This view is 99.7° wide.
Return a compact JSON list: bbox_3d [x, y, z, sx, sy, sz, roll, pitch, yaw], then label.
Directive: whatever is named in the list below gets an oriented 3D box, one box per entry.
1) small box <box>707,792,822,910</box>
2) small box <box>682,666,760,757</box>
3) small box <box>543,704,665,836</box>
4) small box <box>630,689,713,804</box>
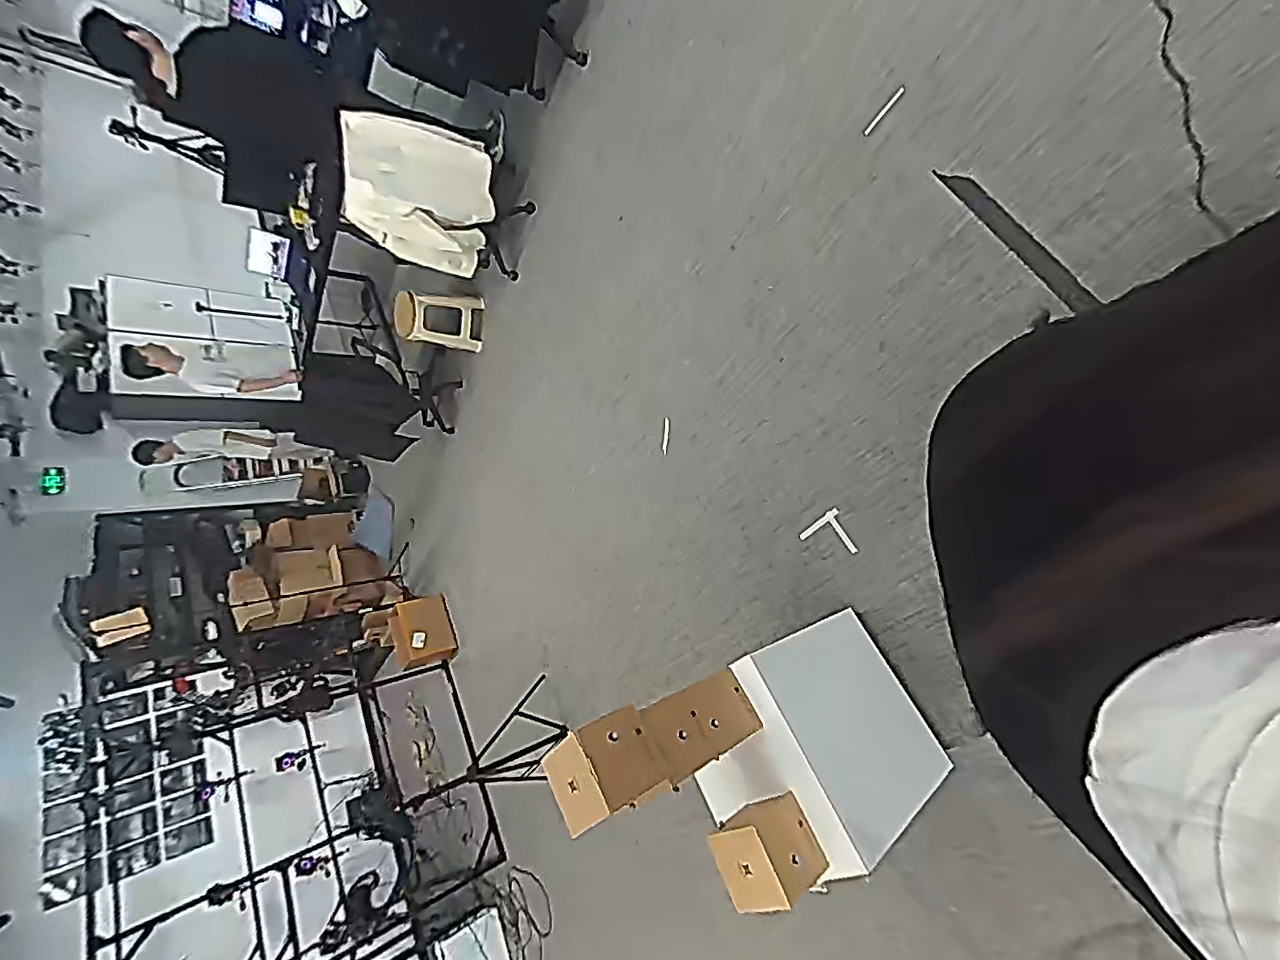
[{"bbox_3d":[0.296,0.858,1.258,0.179,0.176,0.168,-47,60,39],"label":"small box"},{"bbox_3d":[0.167,0.600,1.368,0.179,0.176,0.168,-50,60,38],"label":"small box"},{"bbox_3d":[-0.072,0.606,1.143,0.168,0.176,0.179,57,131,27],"label":"small box"},{"bbox_3d":[0.046,0.612,1.256,0.179,0.176,0.168,-49,60,38],"label":"small box"}]
